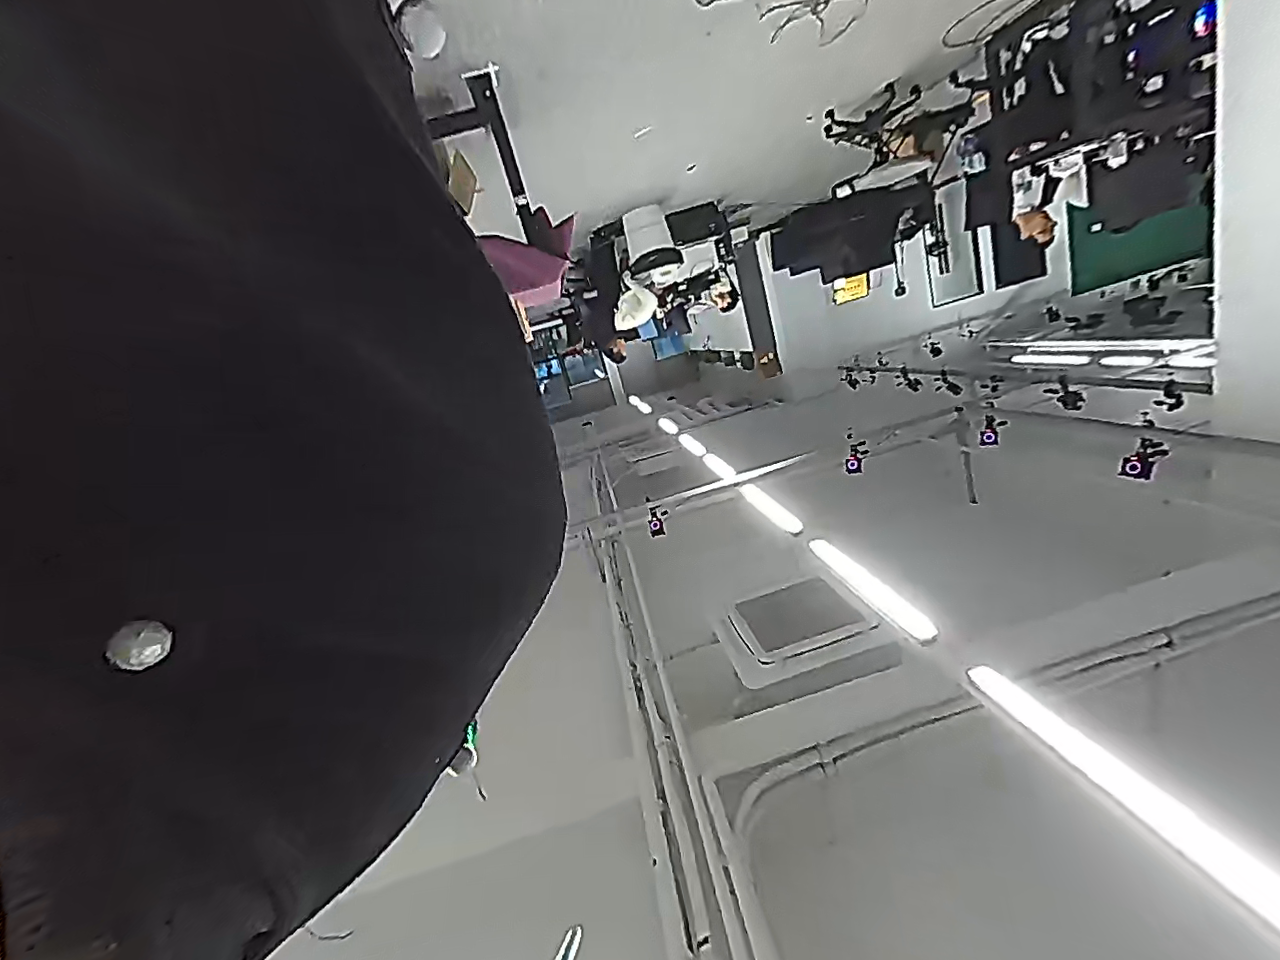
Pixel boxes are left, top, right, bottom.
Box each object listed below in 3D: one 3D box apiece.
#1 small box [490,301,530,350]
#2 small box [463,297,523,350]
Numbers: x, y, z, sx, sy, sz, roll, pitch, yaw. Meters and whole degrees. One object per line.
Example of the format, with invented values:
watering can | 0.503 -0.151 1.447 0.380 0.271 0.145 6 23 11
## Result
small box | -0.609 -0.692 2.422 0.179 0.176 0.168 -17 -166 -1
small box | -0.591 -0.634 2.188 0.179 0.176 0.168 -18 -165 -3
